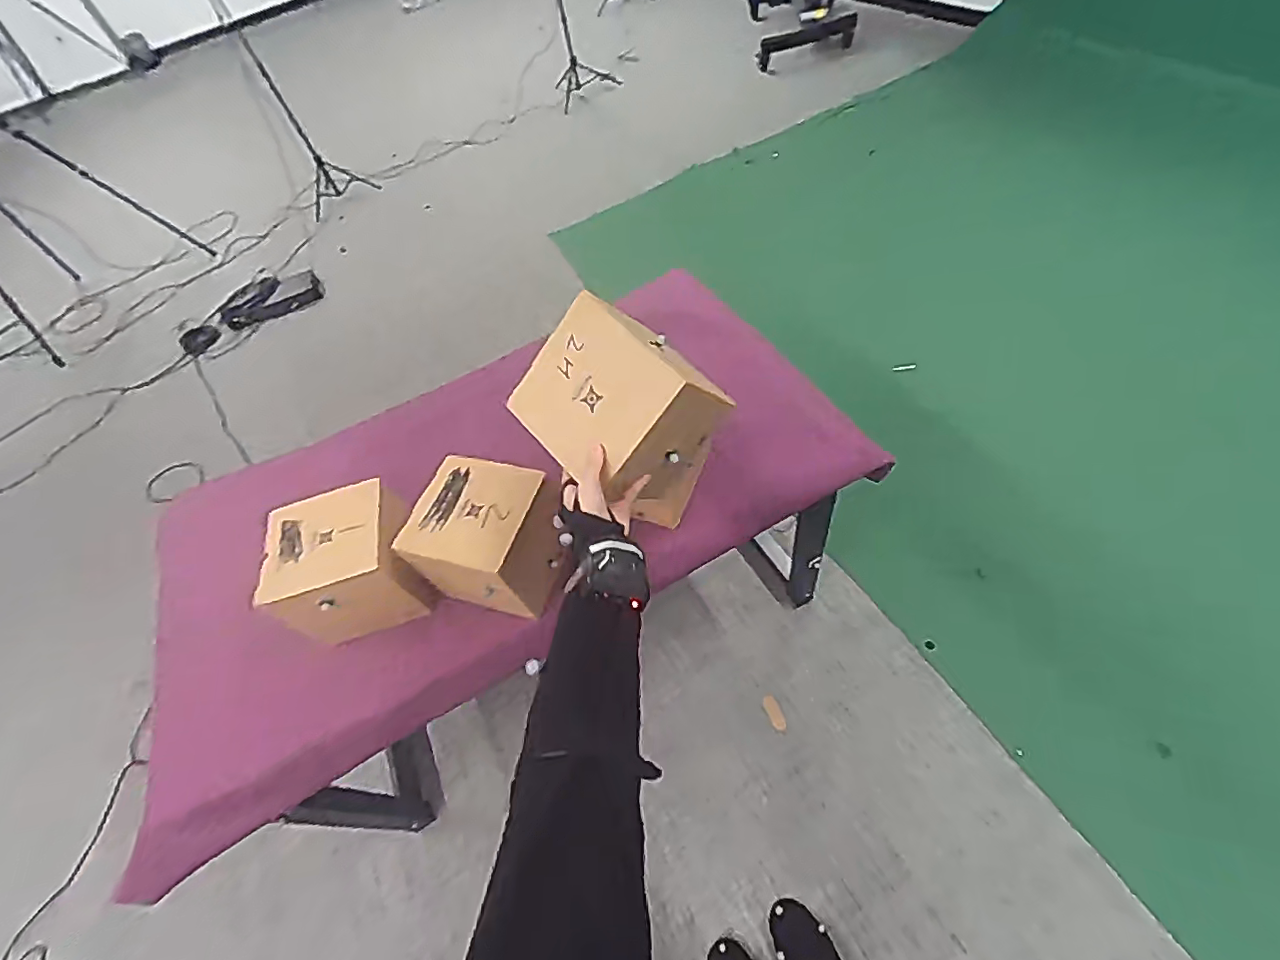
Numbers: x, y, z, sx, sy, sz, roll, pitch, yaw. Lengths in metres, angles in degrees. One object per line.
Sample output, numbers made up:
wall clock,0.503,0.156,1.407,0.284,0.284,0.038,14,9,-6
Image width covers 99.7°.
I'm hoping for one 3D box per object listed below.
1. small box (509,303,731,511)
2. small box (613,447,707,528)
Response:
small box,-0.017,-0.083,0.664,0.179,0.176,0.168,45,110,22
small box,0.004,-0.046,0.877,0.168,0.176,0.179,15,60,21
